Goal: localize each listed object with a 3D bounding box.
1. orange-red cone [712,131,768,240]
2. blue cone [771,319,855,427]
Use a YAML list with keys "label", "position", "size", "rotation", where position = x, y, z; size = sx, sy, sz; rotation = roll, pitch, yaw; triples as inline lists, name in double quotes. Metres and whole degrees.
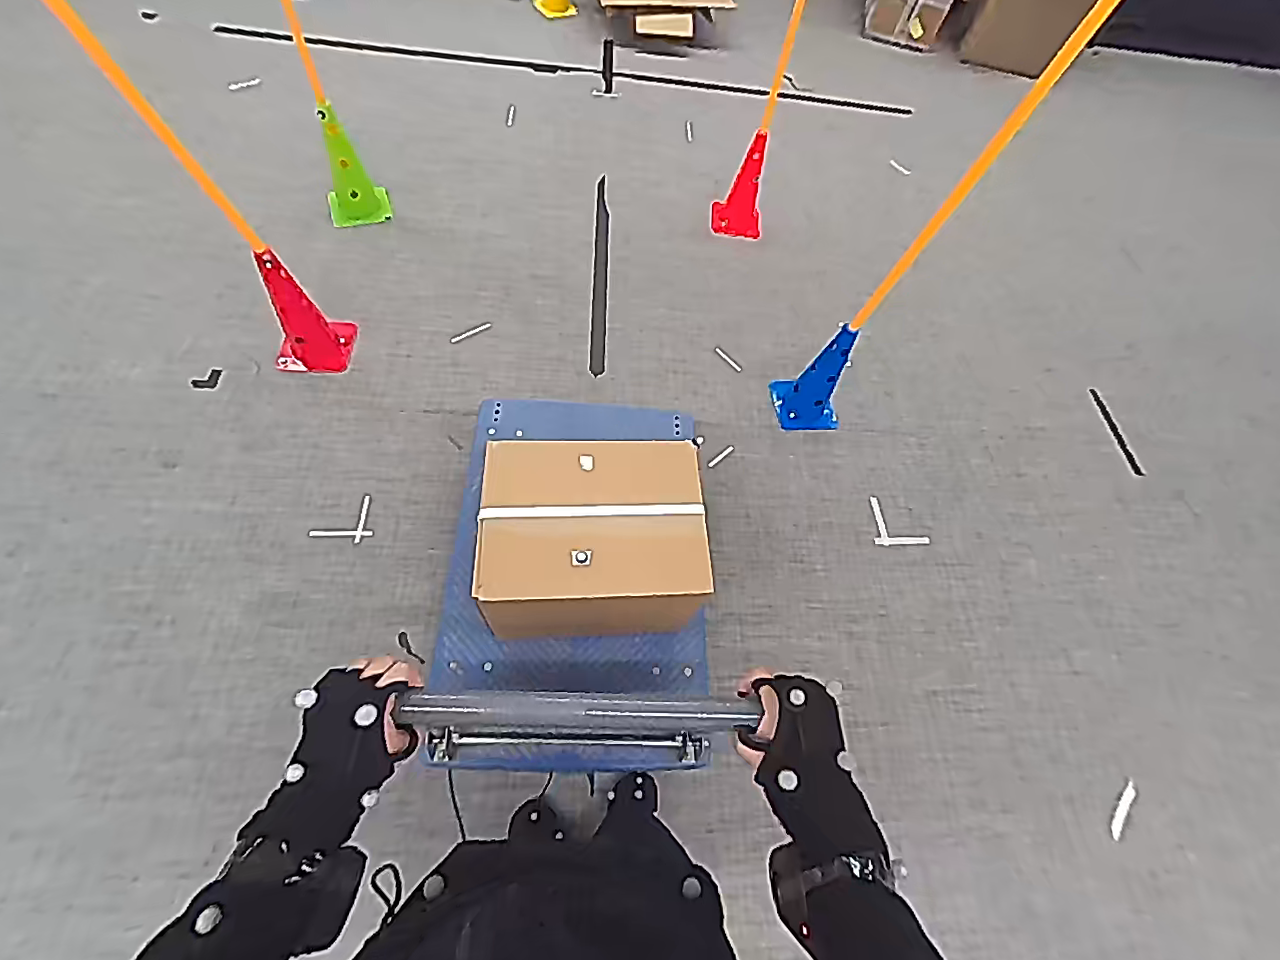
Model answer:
- label: "orange-red cone"
  position: [0.415, -1.139, 2.059]
  size: [0.199, 0.360, 0.198]
  rotation: [8, 61, -4]
- label: "blue cone"
  position: [0.563, -0.335, 1.657]
  size: [0.193, 0.380, 0.192]
  rotation: [-1, 61, -9]
